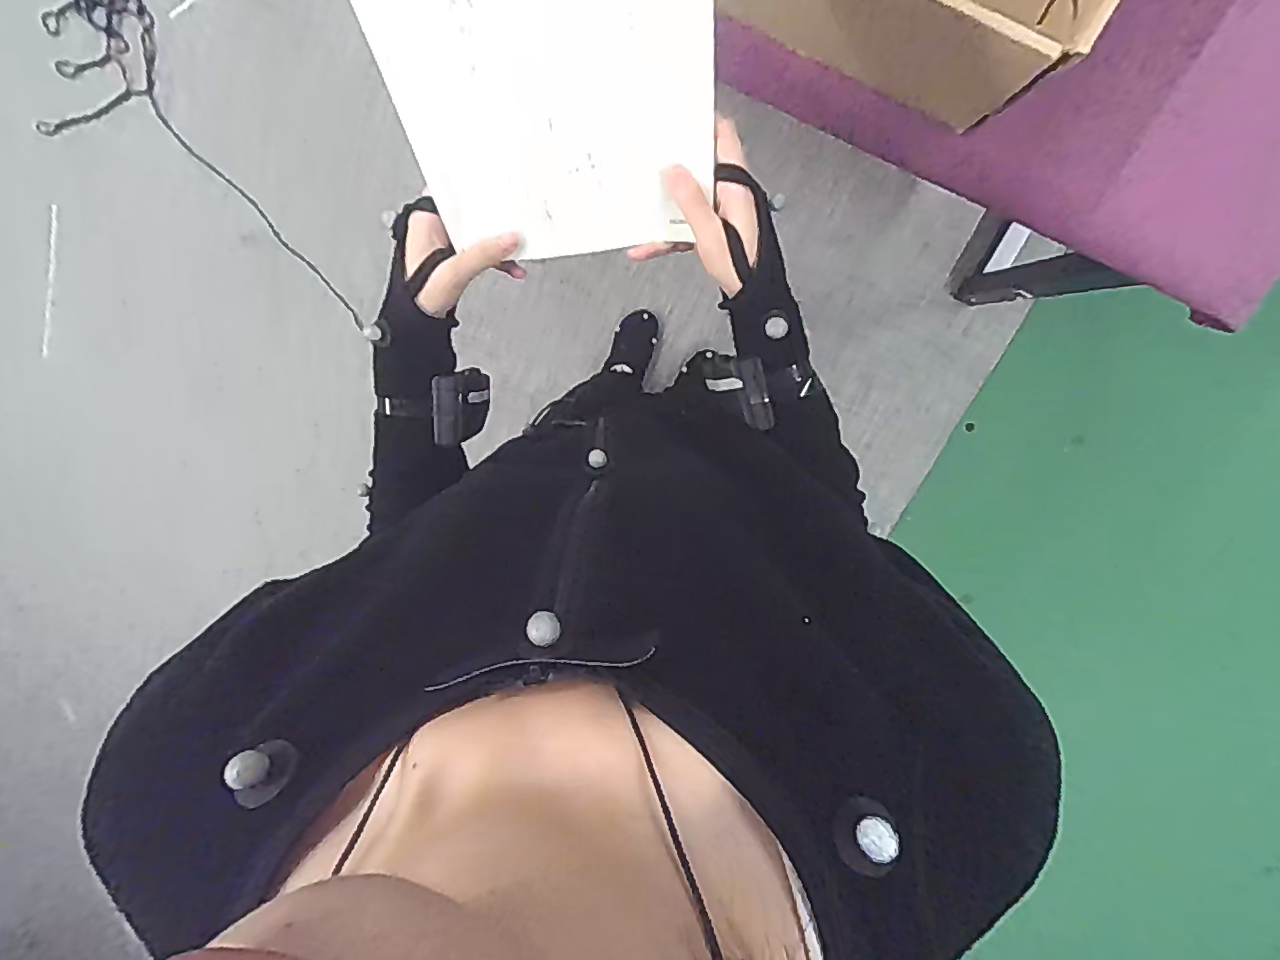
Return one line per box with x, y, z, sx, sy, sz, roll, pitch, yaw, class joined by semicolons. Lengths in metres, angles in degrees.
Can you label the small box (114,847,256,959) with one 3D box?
-1.131;1.066;1.359;0.168;0.176;0.179;-30;101;14;small box
